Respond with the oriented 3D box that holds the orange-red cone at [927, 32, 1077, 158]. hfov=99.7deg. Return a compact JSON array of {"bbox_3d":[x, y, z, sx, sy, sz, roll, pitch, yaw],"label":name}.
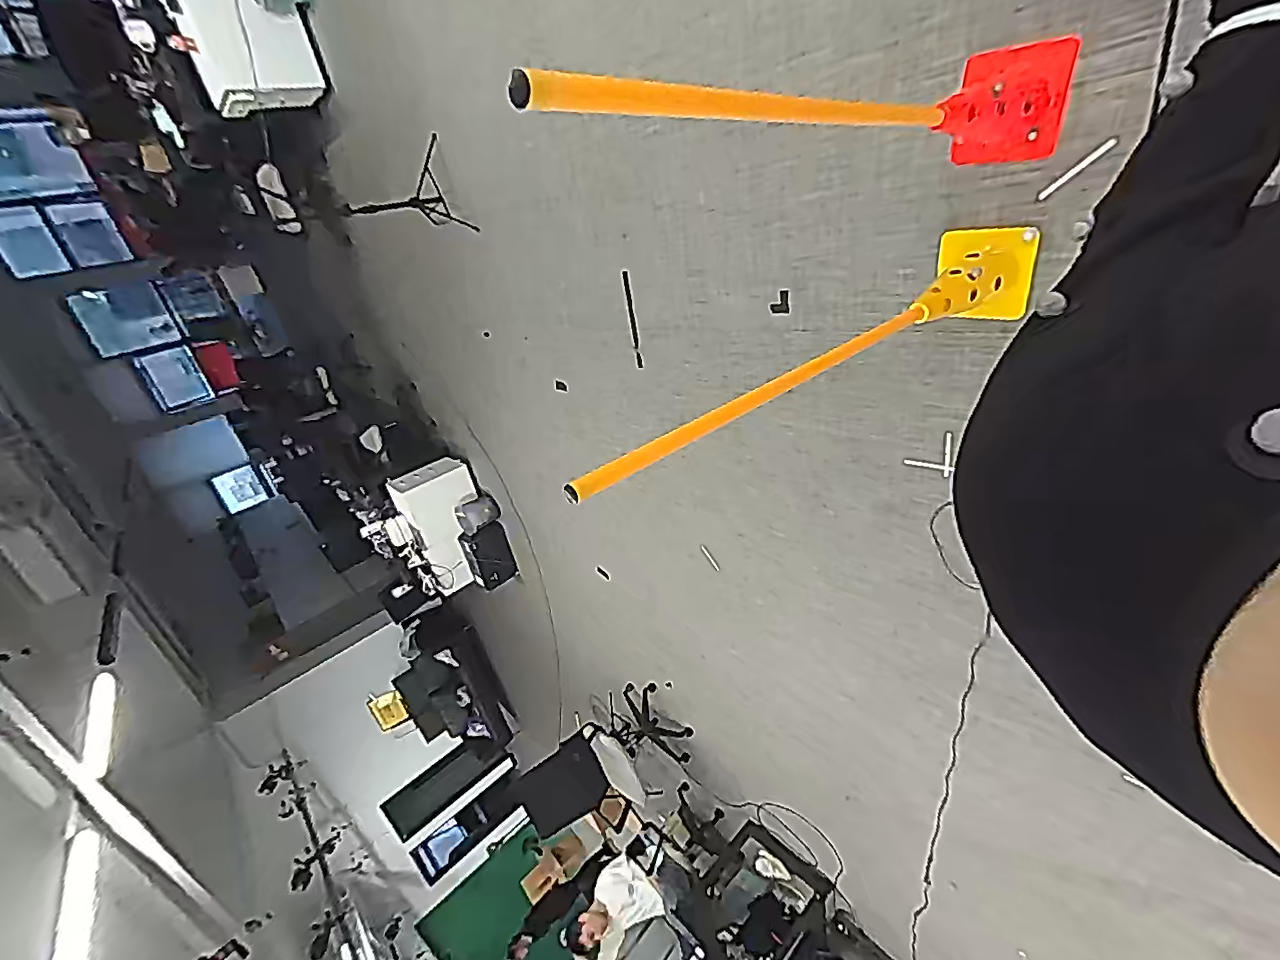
[{"bbox_3d":[0.620,-0.698,0.999,0.198,0.360,0.199,25,133,40],"label":"orange-red cone"}]
